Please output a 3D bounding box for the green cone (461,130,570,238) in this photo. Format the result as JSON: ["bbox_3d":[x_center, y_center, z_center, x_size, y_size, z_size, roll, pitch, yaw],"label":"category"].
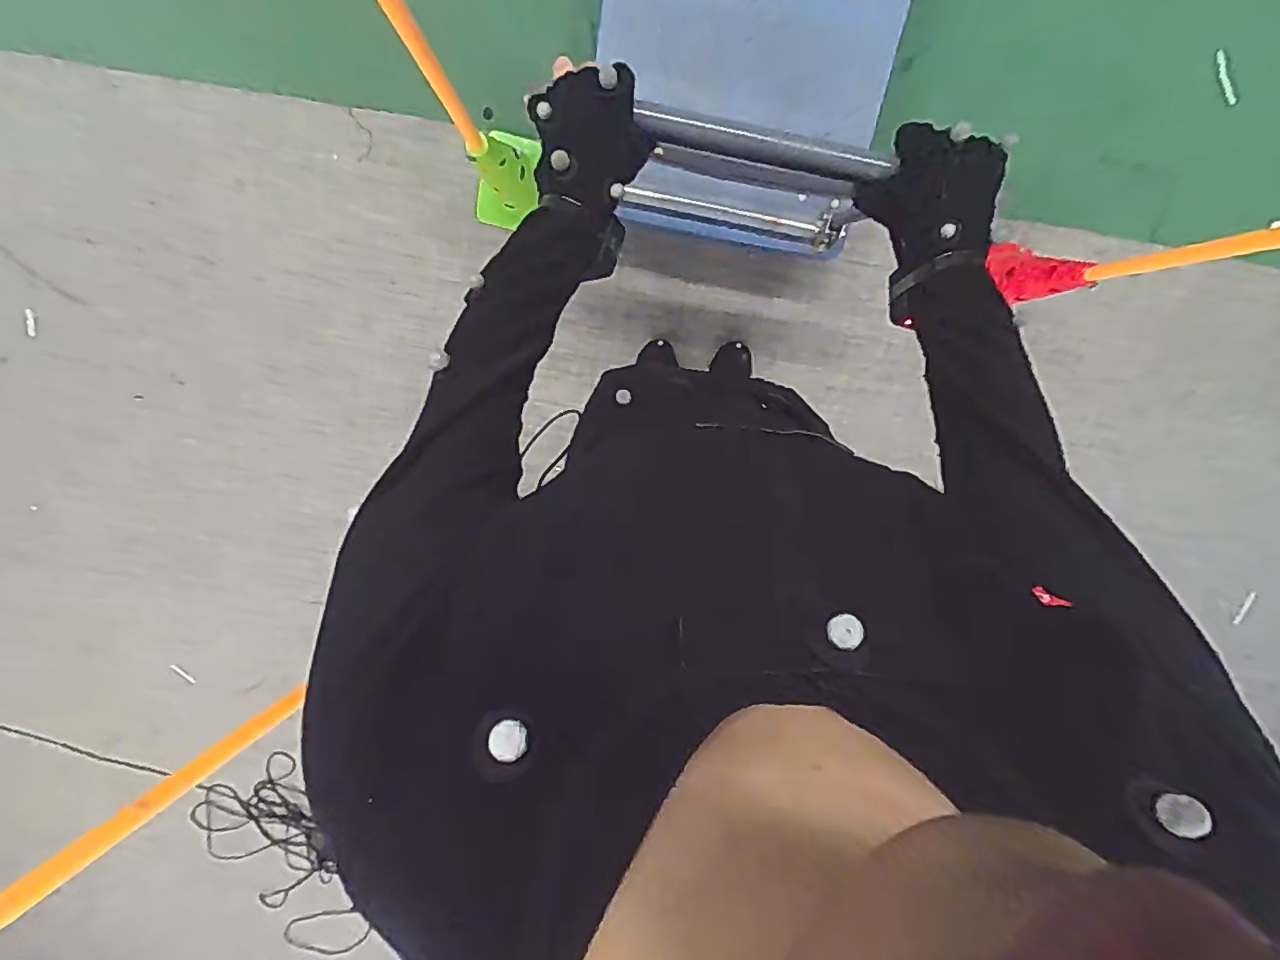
[{"bbox_3d":[-0.285,-0.653,1.127,0.202,0.368,0.200,14,107,-2],"label":"green cone"}]
